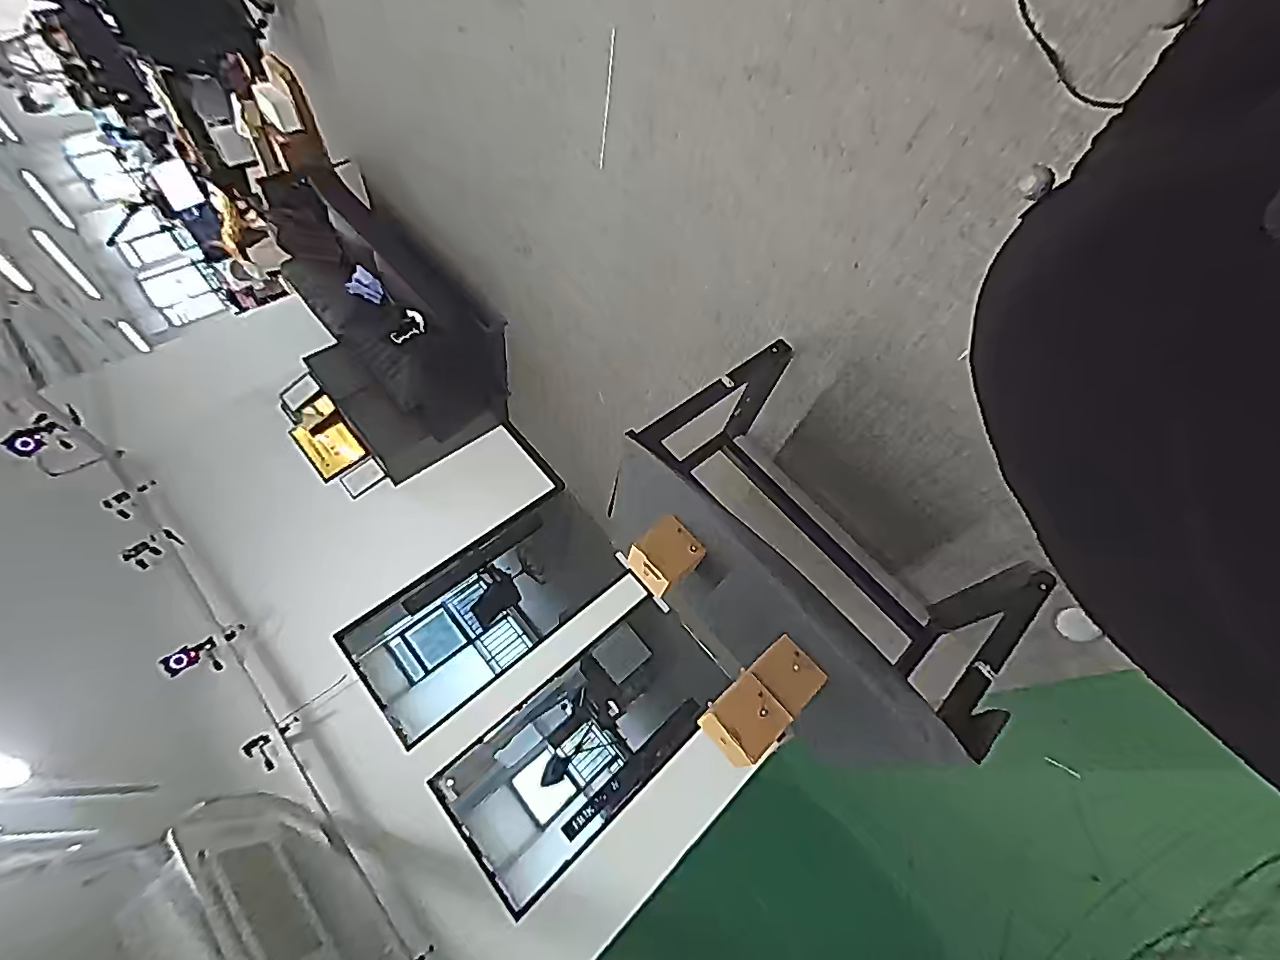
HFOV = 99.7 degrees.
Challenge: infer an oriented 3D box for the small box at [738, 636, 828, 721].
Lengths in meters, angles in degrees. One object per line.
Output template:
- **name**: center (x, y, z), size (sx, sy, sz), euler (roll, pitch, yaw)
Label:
- **small box**: center (0.415, 0.588, 1.578), size (0.168, 0.176, 0.179), euler (44, 153, 20)

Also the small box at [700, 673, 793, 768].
- **small box**: center (0.296, 0.668, 1.502), size (0.168, 0.176, 0.179), euler (46, 153, 19)

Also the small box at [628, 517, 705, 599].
- **small box**: center (0.086, 0.246, 1.725), size (0.168, 0.176, 0.179), euler (46, 154, 16)
